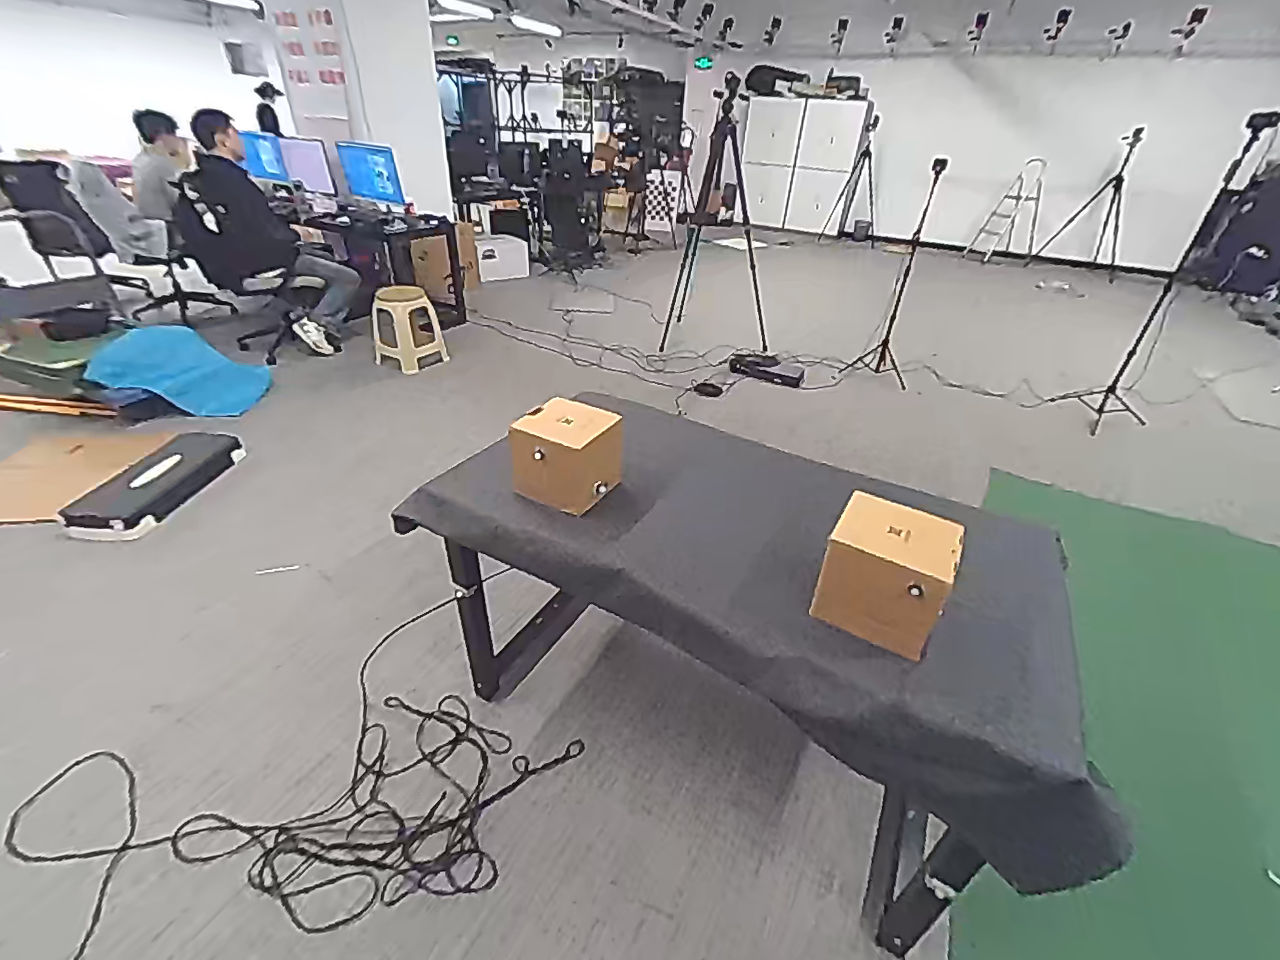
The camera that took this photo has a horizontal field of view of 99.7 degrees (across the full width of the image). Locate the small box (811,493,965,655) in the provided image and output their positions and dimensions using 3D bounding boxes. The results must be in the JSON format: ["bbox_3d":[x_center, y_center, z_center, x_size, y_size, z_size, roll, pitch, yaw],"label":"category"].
[{"bbox_3d":[0.399,0.152,0.884,0.179,0.176,0.168,21,37,25],"label":"small box"}]

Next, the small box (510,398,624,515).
[{"bbox_3d":[-0.152,-0.051,1.145,0.179,0.176,0.168,20,38,22],"label":"small box"}]
